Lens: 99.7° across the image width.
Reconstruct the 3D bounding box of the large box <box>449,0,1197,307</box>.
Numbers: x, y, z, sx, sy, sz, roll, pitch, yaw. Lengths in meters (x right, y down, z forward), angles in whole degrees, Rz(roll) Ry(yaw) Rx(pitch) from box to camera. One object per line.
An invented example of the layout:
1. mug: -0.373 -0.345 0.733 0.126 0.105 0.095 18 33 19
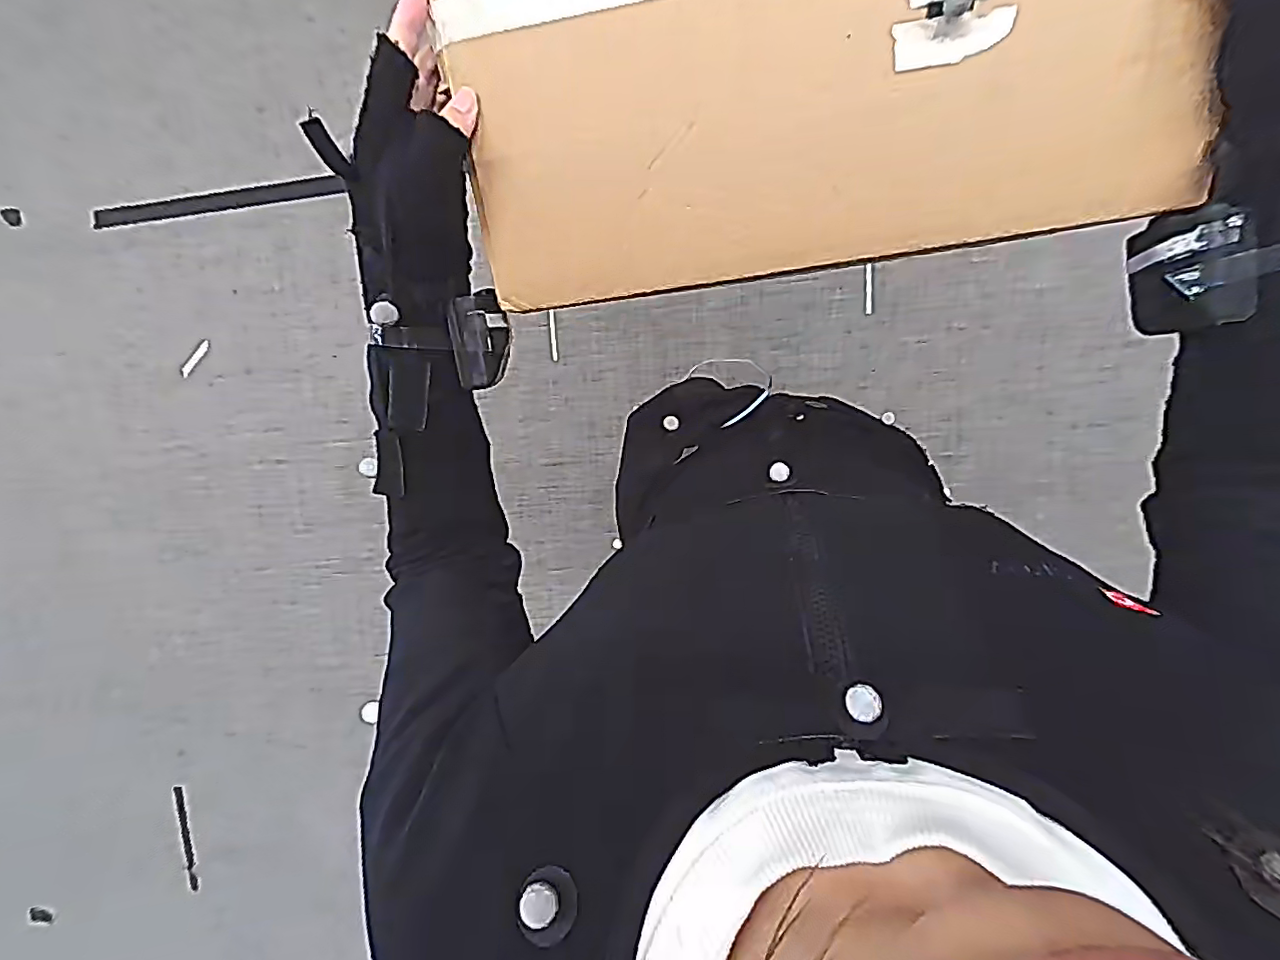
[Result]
1. large box: 0.097 -0.332 0.430 0.408 0.320 0.320 -7 109 7
